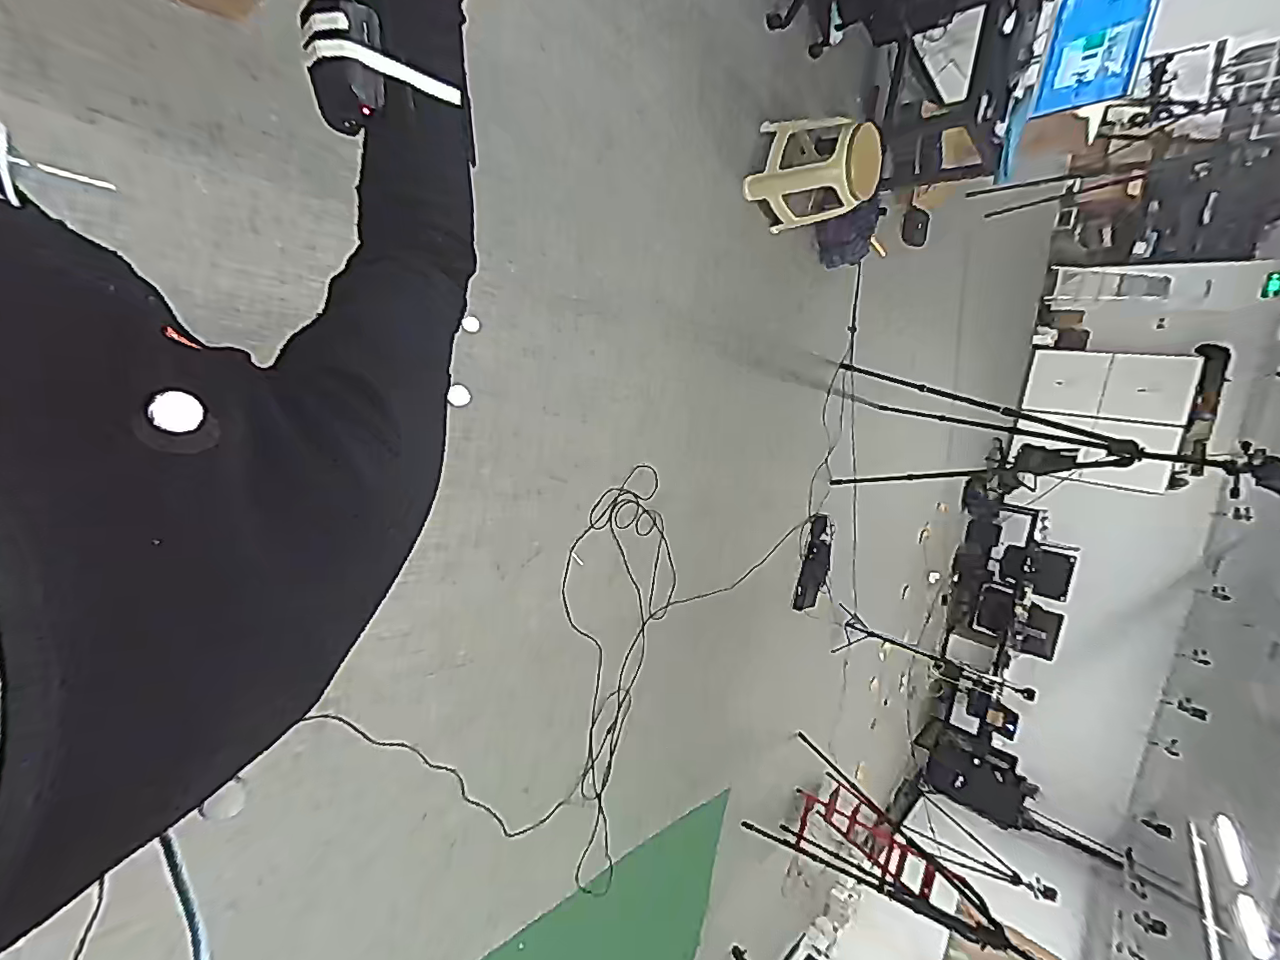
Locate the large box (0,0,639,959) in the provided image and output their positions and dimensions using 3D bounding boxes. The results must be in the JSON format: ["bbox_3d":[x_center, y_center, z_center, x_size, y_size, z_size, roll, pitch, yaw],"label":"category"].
[{"bbox_3d":[-0.207,0.042,0.311,0.320,0.320,0.408,14,60,-18],"label":"large box"}]
